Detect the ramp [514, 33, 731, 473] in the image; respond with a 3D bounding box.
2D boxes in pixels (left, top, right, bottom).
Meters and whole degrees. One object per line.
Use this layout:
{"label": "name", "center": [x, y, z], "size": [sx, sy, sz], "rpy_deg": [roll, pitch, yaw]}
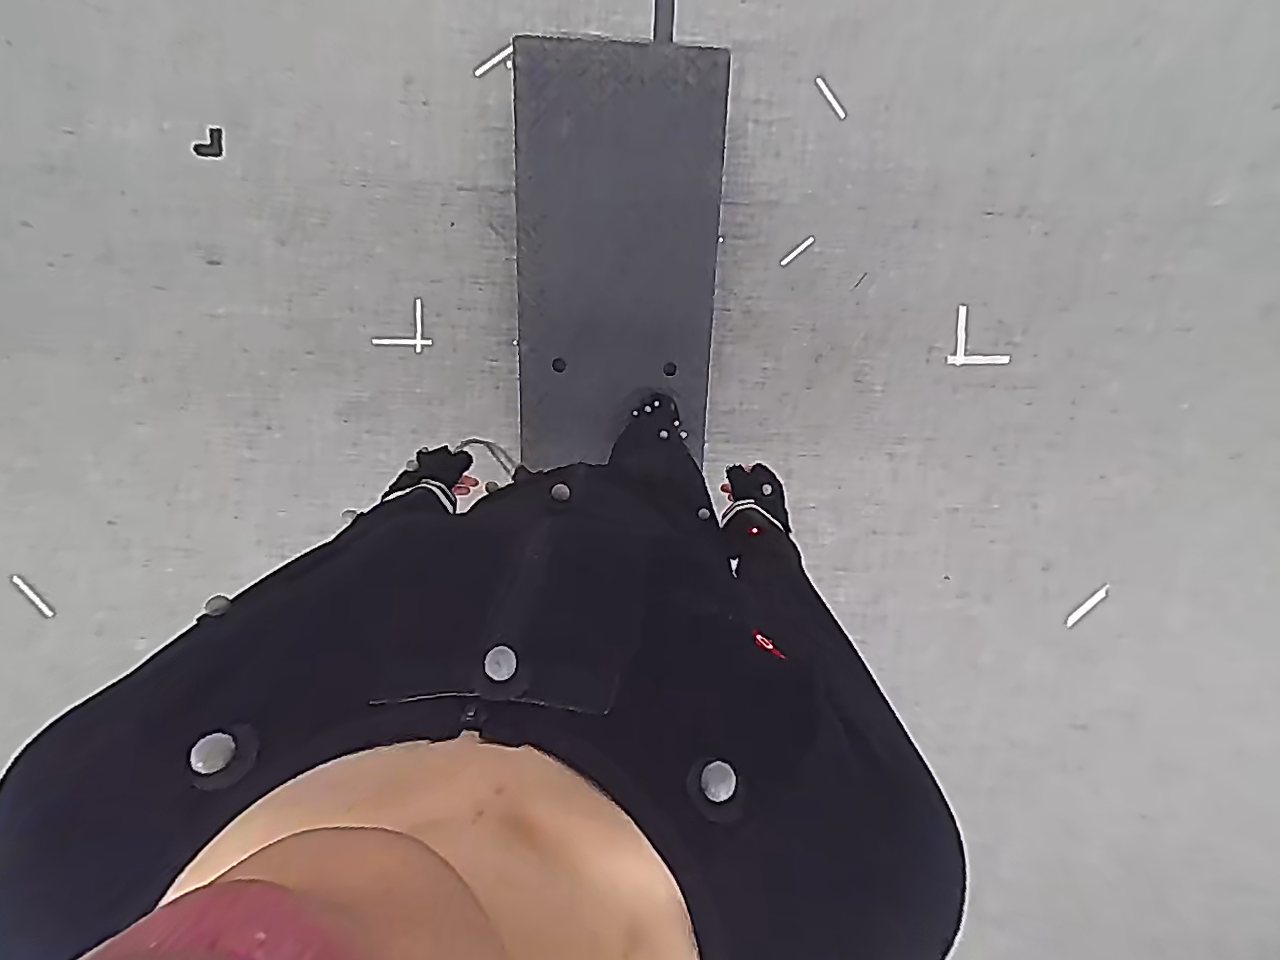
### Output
{"label": "ramp", "center": [-0.050, -0.504, 1.338], "size": [0.509, 0.206, 0.991], "rpy_deg": [0, 96, -3]}
